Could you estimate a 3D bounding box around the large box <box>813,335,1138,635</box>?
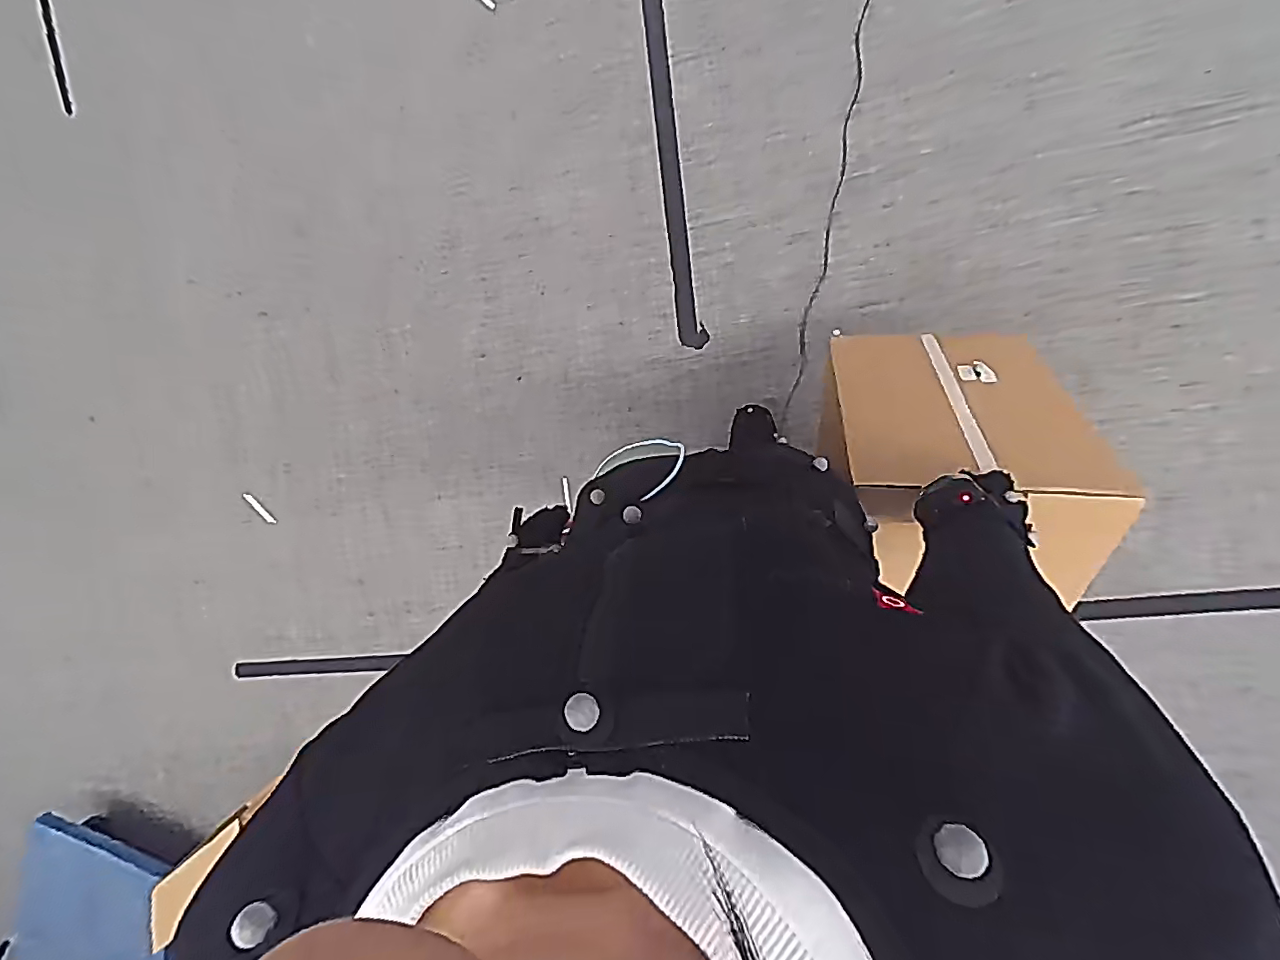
[{"bbox_3d":[0.471,-0.005,0.889,0.320,0.408,0.320,3,130,10],"label":"large box"}]
